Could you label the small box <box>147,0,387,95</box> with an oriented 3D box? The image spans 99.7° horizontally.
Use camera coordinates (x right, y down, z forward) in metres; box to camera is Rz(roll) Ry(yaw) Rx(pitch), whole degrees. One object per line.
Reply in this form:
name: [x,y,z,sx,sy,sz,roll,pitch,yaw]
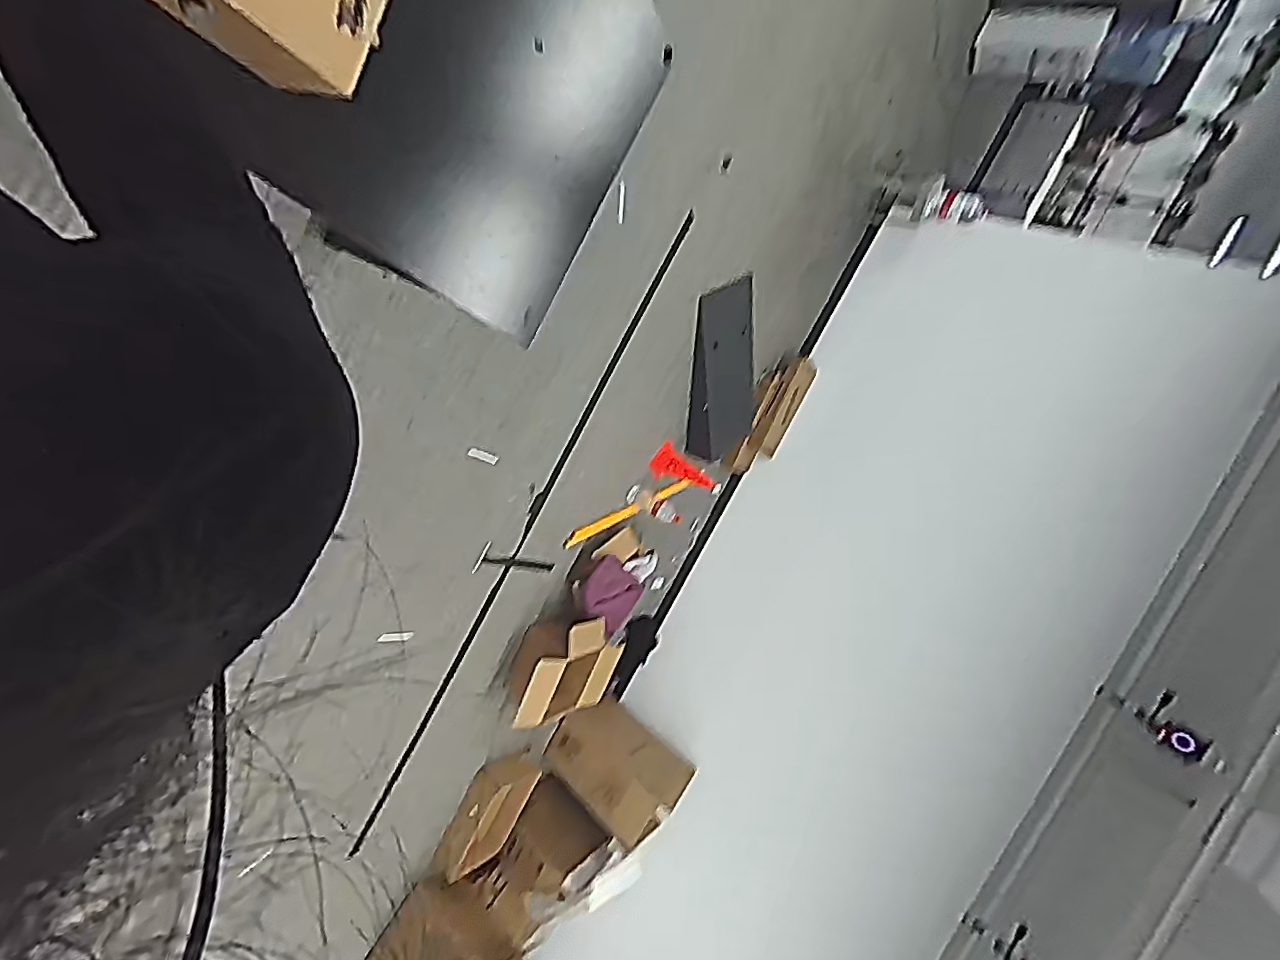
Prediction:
small box: [-0.344,-0.475,0.468,0.179,0.176,0.168,15,102,-59]
